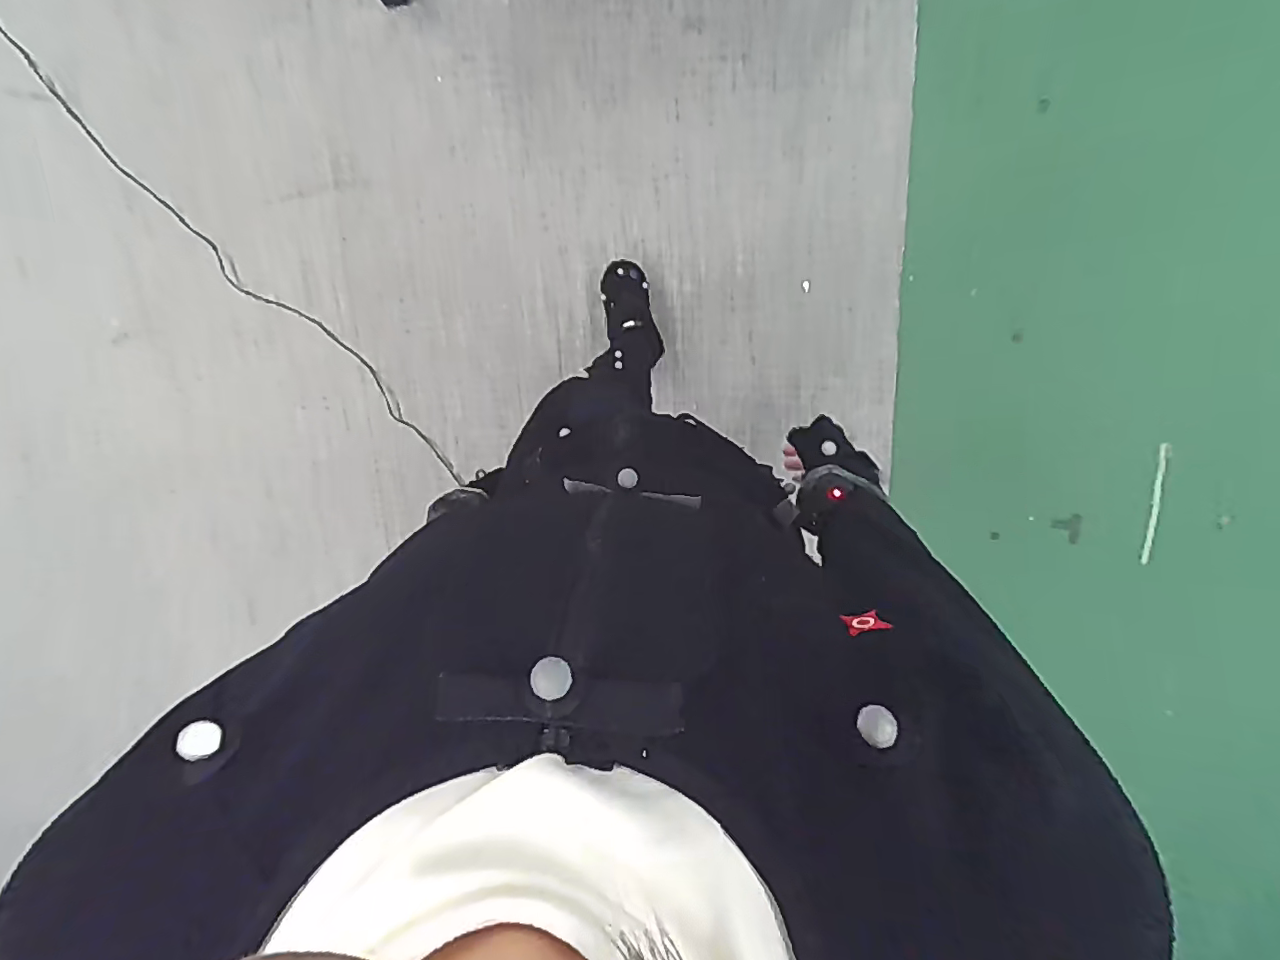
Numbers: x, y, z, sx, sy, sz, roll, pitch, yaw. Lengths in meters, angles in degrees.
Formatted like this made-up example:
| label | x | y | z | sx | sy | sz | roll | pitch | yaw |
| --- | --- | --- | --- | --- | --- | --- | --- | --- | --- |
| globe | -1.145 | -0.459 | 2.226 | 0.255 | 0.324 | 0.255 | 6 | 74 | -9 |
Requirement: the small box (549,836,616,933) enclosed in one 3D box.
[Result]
| label | x | y | z | sx | sy | sz | roll | pitch | yaw |
| --- | --- | --- | --- | --- | --- | --- | --- | --- | --- |
| small box | -0.160 | 1.160 | 1.555 | 0.168 | 0.176 | 0.179 | -4 | 103 | 3 |

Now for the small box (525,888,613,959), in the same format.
| label | x | y | z | sx | sy | sz | roll | pitch | yaw |
| --- | --- | --- | --- | --- | --- | --- | --- | --- | --- |
| small box | -0.174 | 1.185 | 1.378 | 0.179 | 0.176 | 0.168 | -9 | 103 | 5 |
